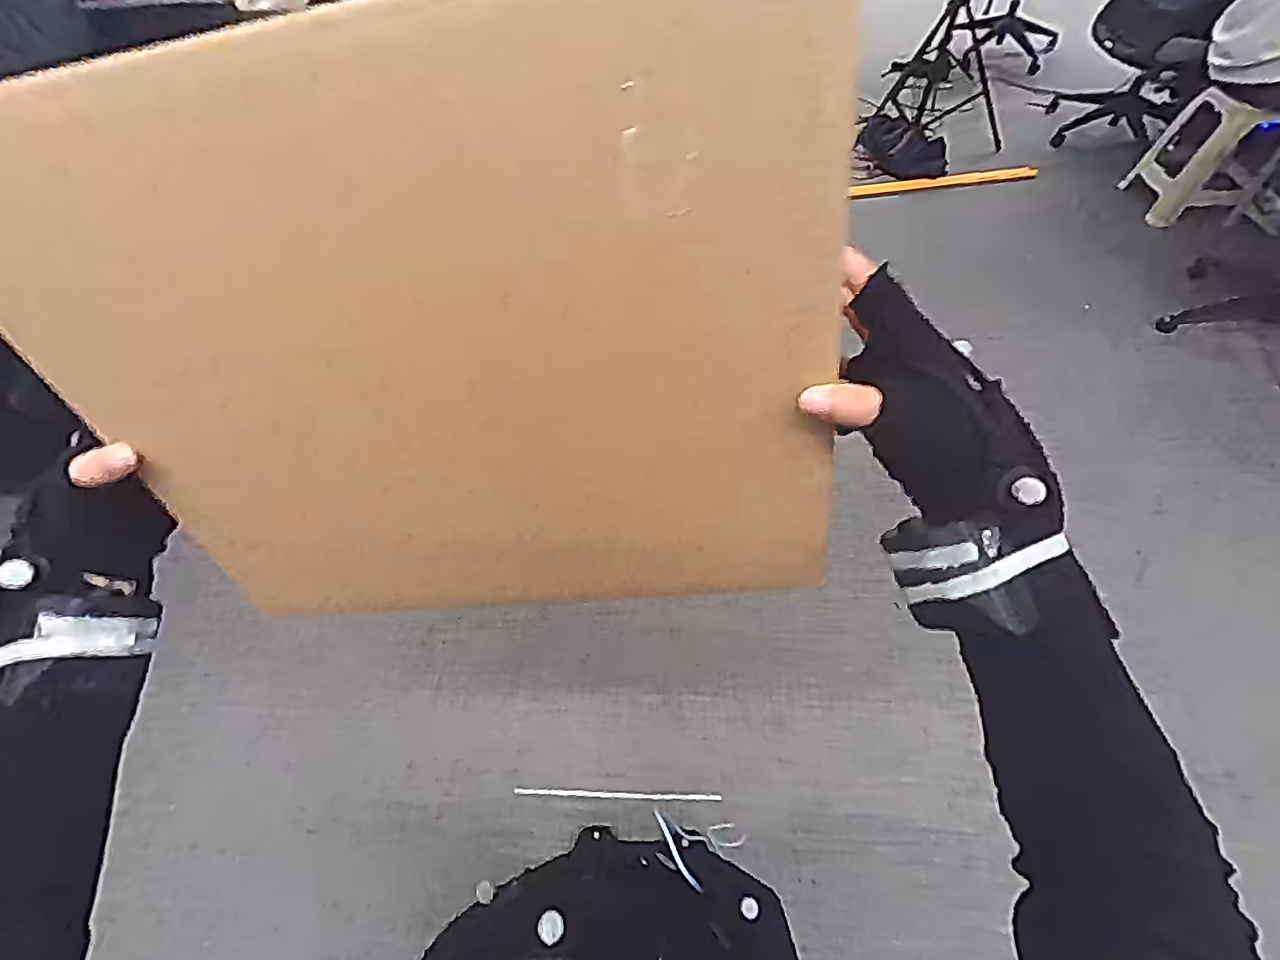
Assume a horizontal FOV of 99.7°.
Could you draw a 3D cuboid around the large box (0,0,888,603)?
[{"bbox_3d":[-0.083,-0.130,0.409,0.408,0.320,0.320,-4,38,8],"label":"large box"}]
